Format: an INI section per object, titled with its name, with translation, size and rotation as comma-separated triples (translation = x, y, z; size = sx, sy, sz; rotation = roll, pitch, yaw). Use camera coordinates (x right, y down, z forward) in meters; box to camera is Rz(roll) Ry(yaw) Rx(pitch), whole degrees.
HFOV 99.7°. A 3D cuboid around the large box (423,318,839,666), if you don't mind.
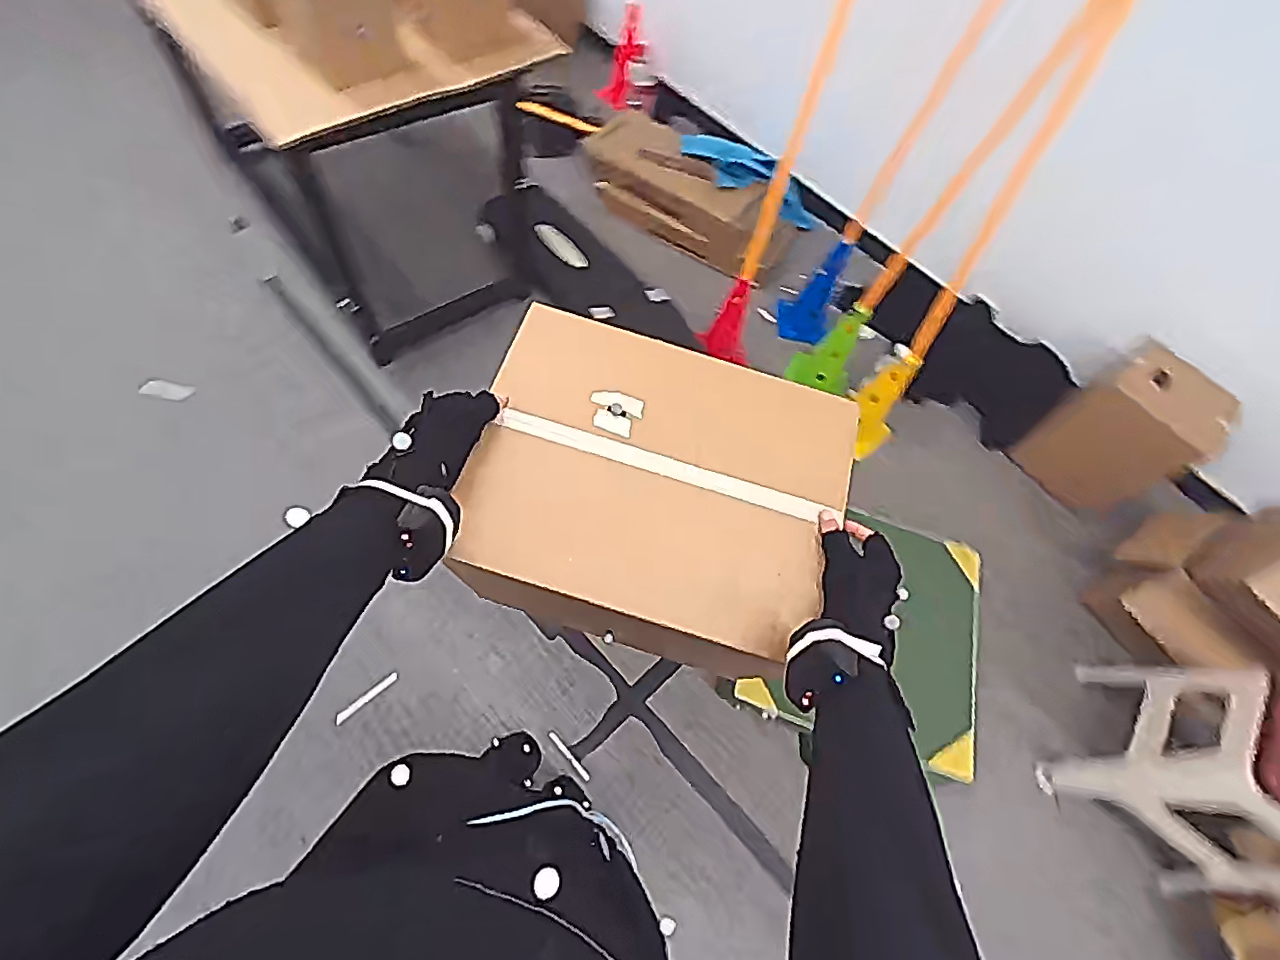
[large box]
translation = 0.000, 0.044, 0.730
size = 0.408, 0.320, 0.320
rotation = 16, 67, 1
